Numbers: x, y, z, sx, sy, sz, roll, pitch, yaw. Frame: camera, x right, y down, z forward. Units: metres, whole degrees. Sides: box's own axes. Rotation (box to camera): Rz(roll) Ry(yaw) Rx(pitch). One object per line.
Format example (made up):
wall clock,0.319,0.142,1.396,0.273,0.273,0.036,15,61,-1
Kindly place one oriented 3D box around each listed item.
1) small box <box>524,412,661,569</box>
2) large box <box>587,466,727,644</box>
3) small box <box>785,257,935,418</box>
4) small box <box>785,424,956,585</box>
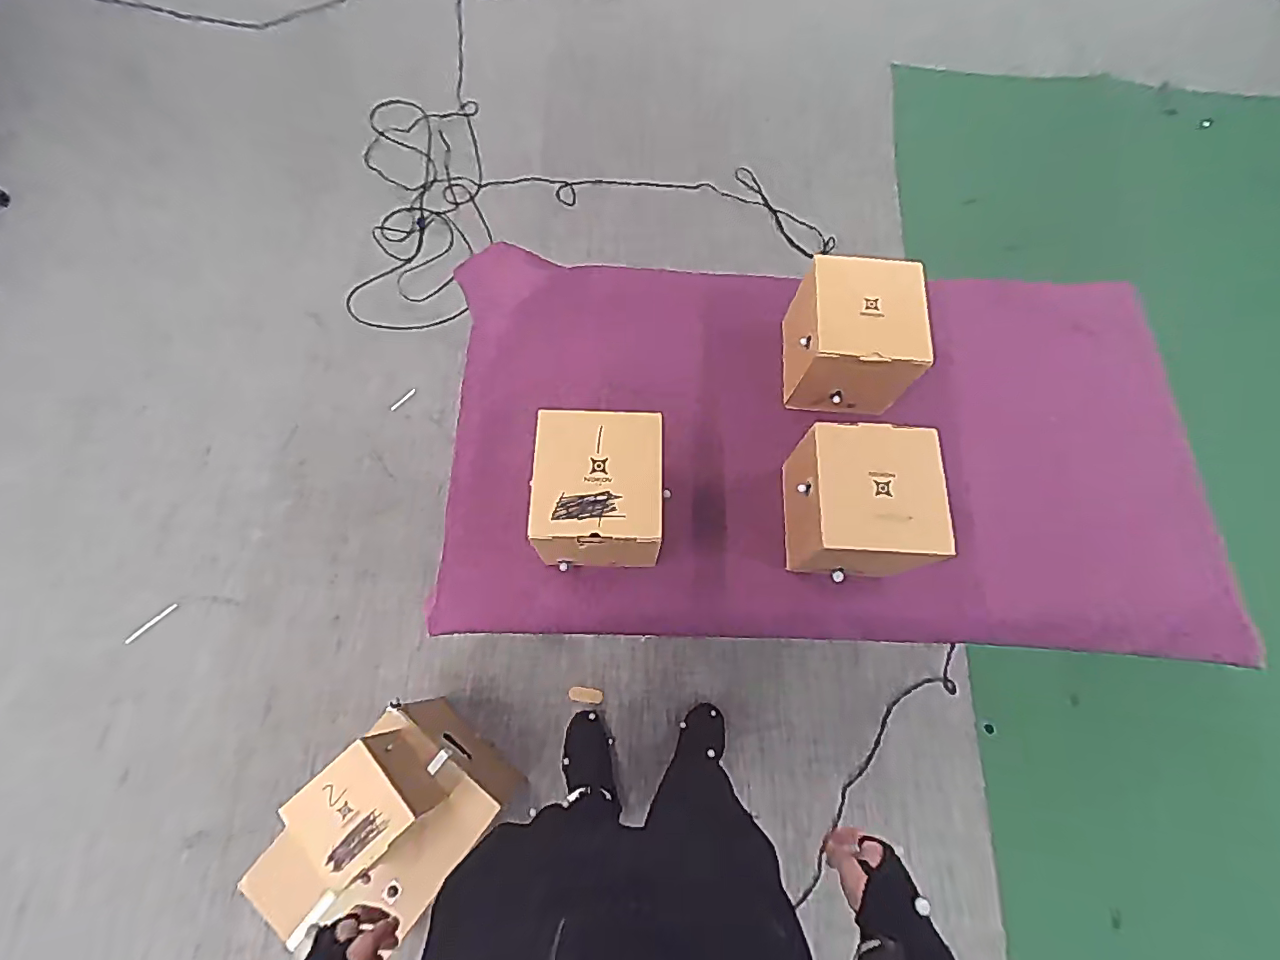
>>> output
small box,-0.058,0.023,0.750,0.168,0.176,0.179,2,69,-1
large box,0.039,0.204,1.393,0.320,0.320,0.408,3,69,-1
small box,0.331,-0.217,0.850,0.168,0.176,0.179,5,71,0
small box,0.305,0.041,0.756,0.168,0.176,0.179,4,70,1
